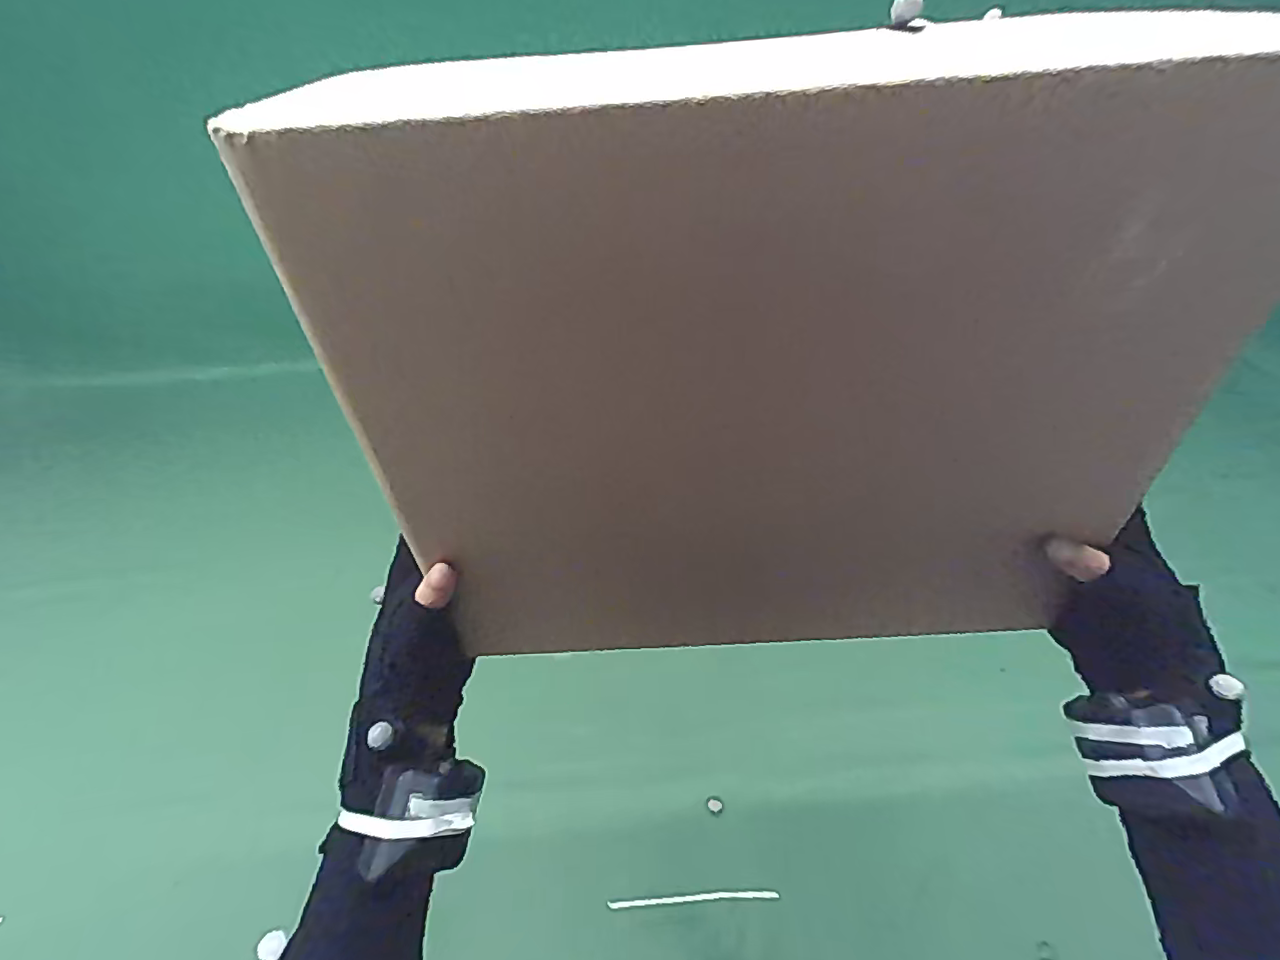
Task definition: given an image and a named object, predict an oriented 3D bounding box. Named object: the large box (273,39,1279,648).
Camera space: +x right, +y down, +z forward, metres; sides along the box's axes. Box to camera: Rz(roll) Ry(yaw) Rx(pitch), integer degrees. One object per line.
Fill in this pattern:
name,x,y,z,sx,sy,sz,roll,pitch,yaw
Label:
large box,0.071,-0.104,0.390,0.408,0.320,0.320,-3,40,0
